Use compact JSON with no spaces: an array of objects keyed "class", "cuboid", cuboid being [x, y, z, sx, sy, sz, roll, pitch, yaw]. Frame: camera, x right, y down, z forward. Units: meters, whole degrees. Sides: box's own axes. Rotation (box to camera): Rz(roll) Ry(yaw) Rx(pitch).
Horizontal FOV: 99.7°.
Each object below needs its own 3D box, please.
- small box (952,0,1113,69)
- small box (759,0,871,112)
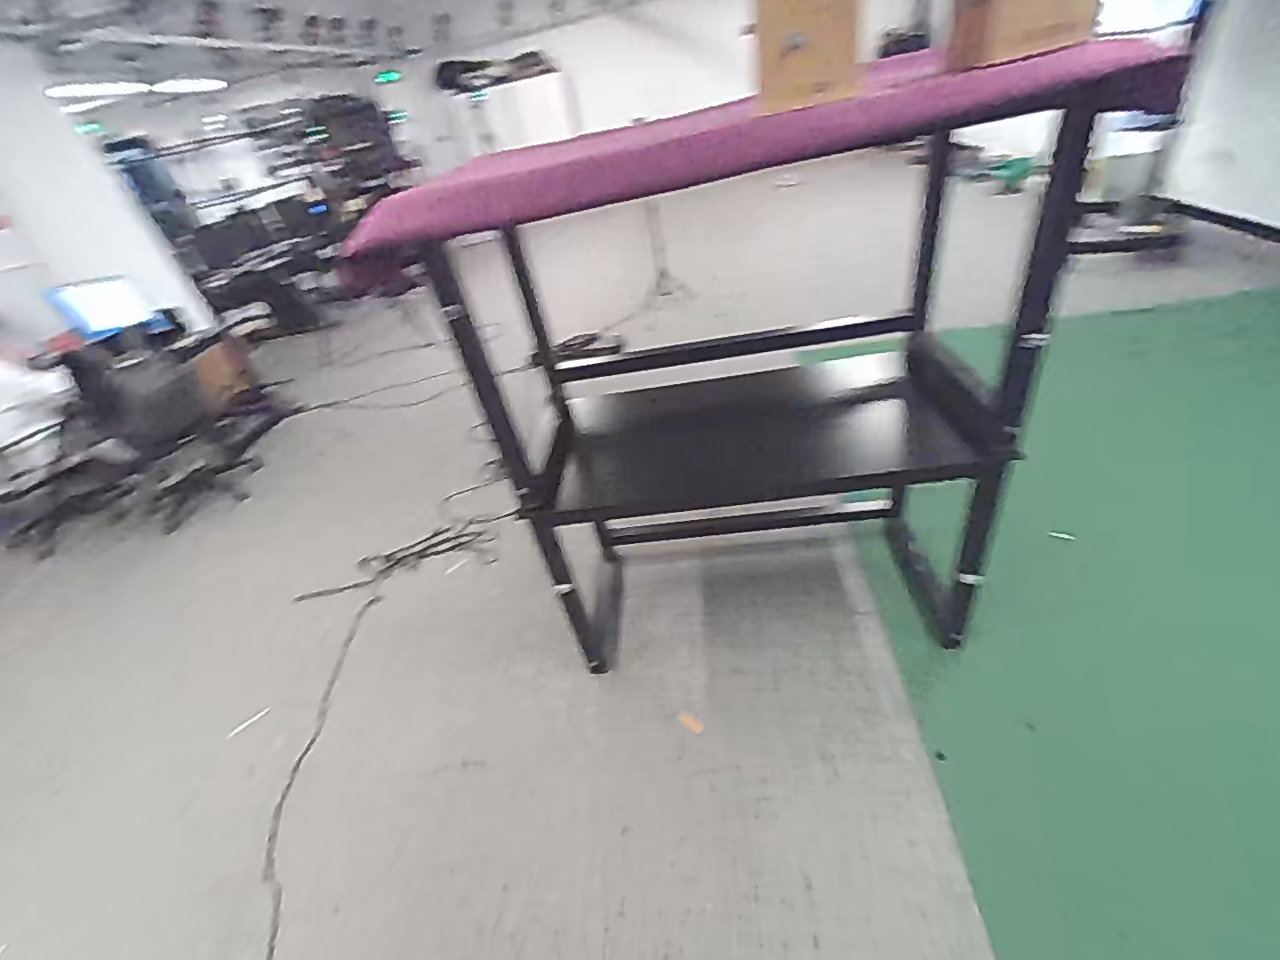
[{"class":"small box","cuboid":[0.625,-0.777,0.861,0.168,0.176,0.179,-7,34,8]},{"class":"small box","cuboid":[0.289,-0.733,0.909,0.168,0.176,0.179,-3,35,13]}]
